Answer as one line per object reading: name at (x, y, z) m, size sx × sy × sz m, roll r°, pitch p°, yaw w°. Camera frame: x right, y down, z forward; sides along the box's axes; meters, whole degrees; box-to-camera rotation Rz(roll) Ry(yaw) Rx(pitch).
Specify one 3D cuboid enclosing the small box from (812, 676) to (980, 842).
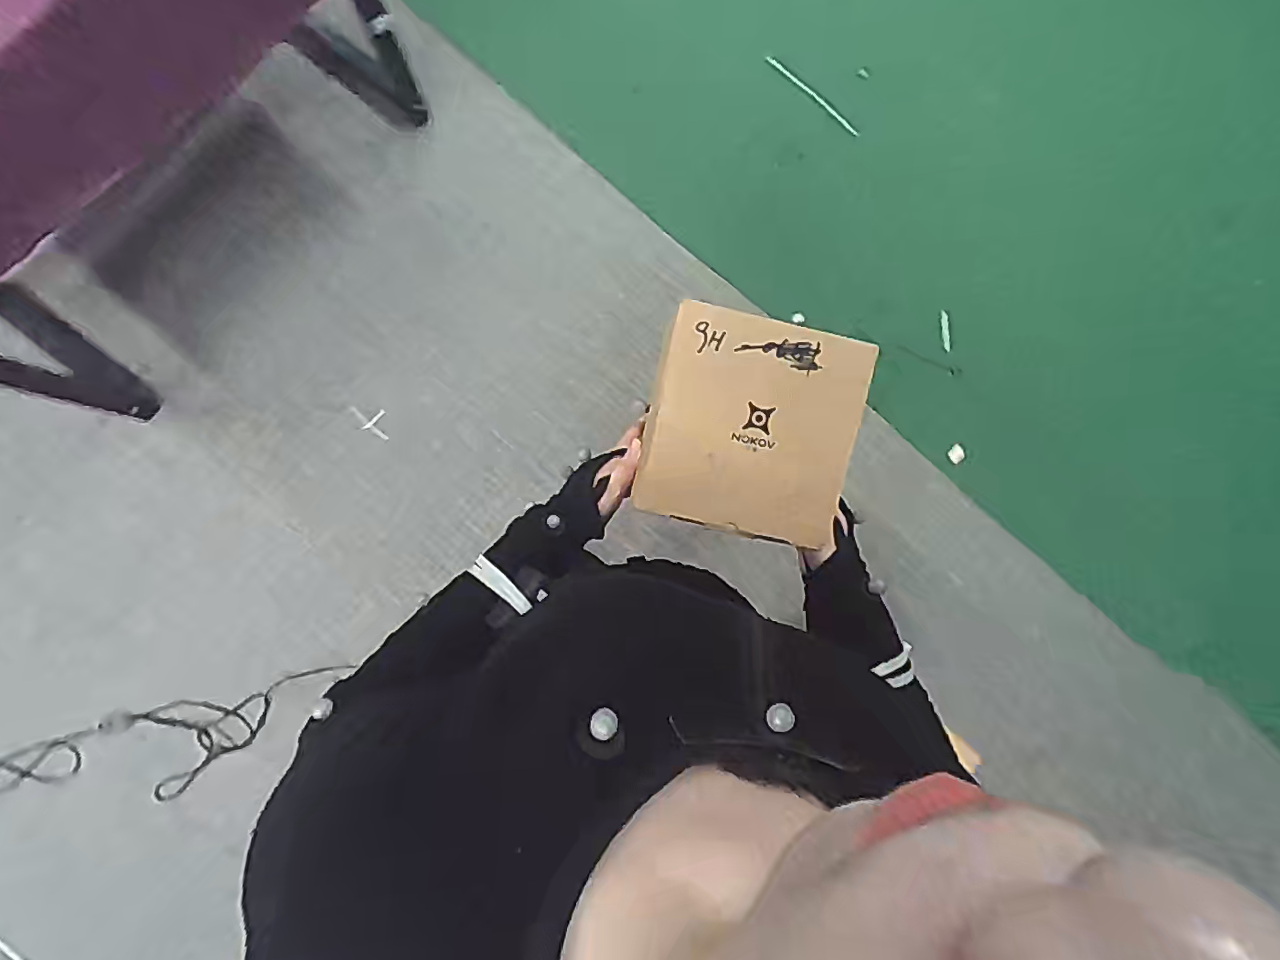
small box at (0.445, 0.483, 0.969) m, size 0.179 × 0.176 × 0.168 m, roll 40°, pitch 85°, yaw 3°

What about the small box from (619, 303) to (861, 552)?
small box at (0.079, -0.050, 0.518) m, size 0.168 × 0.176 × 0.179 m, roll 12°, pitch 97°, yaw -3°
